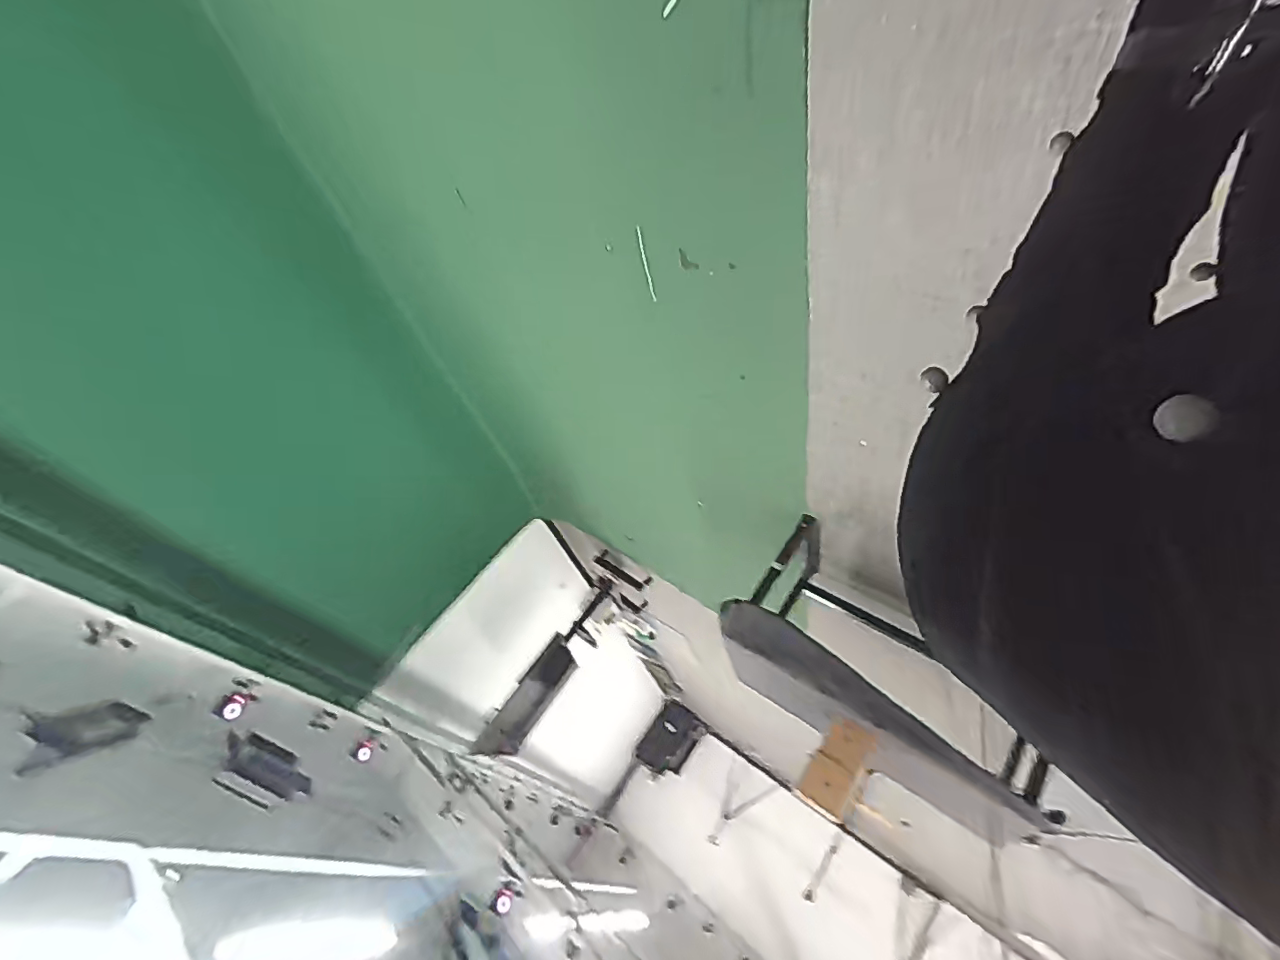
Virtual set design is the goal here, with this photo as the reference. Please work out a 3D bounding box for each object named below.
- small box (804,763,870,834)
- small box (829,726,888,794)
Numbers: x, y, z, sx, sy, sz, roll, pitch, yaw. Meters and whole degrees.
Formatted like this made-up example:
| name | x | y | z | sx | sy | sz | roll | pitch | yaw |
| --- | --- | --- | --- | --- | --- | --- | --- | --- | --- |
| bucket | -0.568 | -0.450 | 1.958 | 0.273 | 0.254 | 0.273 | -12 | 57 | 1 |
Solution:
| name | x | y | z | sx | sy | sz | roll | pitch | yaw |
| --- | --- | --- | --- | --- | --- | --- | --- | --- | --- |
| small box | 0.748 | 1.207 | 2.062 | 0.179 | 0.176 | 0.168 | 27 | 155 | 31 |
| small box | 0.857 | 1.099 | 2.123 | 0.168 | 0.176 | 0.179 | 26 | 154 | 34 |
